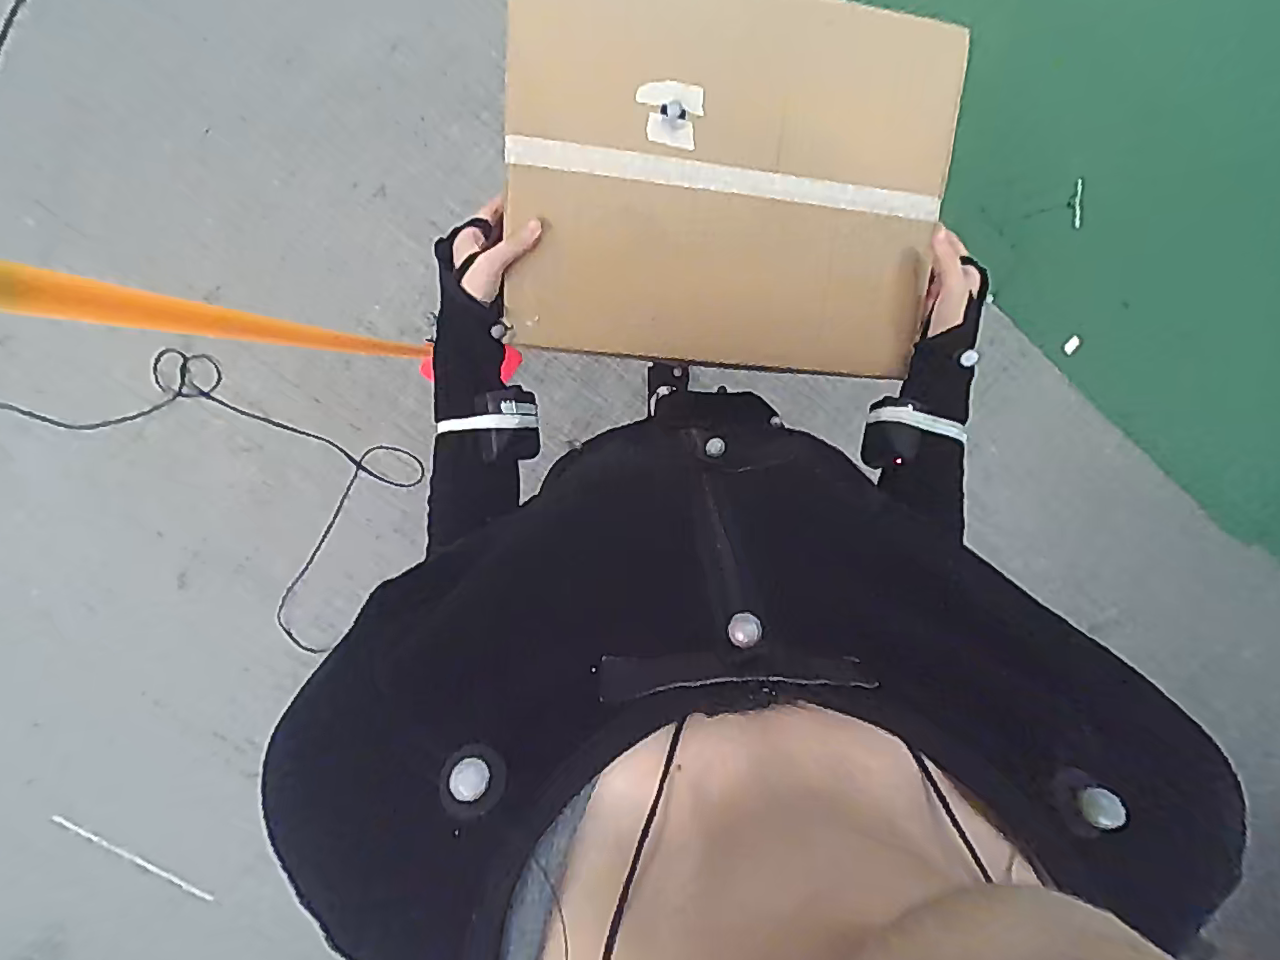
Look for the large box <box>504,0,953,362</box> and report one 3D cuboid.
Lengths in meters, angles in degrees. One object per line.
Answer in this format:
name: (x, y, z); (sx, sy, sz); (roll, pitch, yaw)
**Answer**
large box: (0.062, -0.312, 0.638); (0.408, 0.320, 0.320); (2, 102, -9)
